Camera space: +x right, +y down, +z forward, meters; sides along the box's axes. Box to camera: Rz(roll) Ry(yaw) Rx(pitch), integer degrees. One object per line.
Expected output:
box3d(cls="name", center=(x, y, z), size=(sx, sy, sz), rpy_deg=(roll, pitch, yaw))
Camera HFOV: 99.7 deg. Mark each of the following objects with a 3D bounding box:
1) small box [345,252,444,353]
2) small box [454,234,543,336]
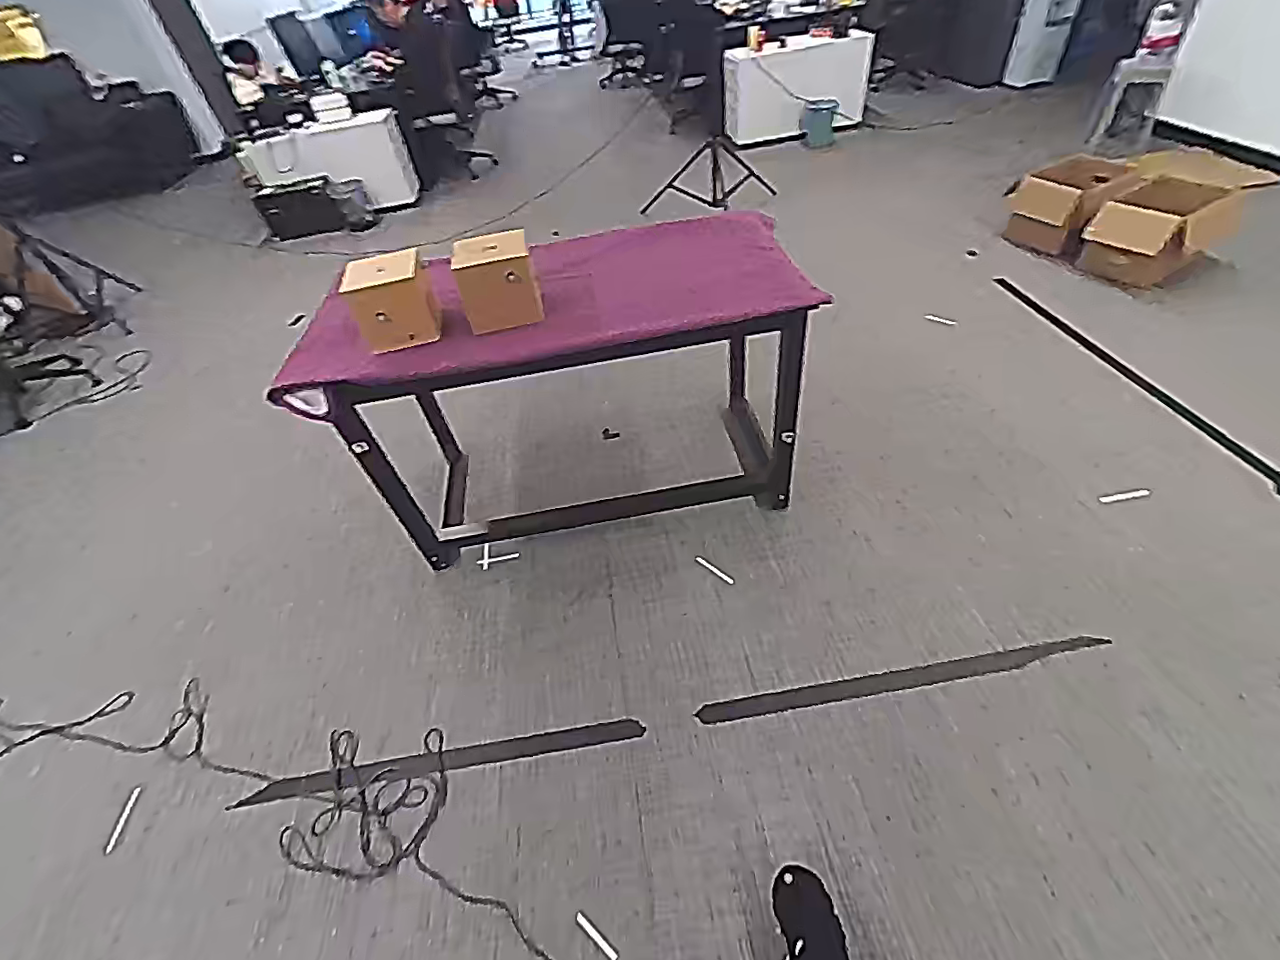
box3d(cls="small box", center=(-0.592, -0.428, 1.327), size=(0.168, 0.176, 0.179), rpy_deg=(-15, 45, -5))
box3d(cls="small box", center=(-0.341, -0.478, 1.330), size=(0.179, 0.176, 0.168), rpy_deg=(-13, 44, -4))
